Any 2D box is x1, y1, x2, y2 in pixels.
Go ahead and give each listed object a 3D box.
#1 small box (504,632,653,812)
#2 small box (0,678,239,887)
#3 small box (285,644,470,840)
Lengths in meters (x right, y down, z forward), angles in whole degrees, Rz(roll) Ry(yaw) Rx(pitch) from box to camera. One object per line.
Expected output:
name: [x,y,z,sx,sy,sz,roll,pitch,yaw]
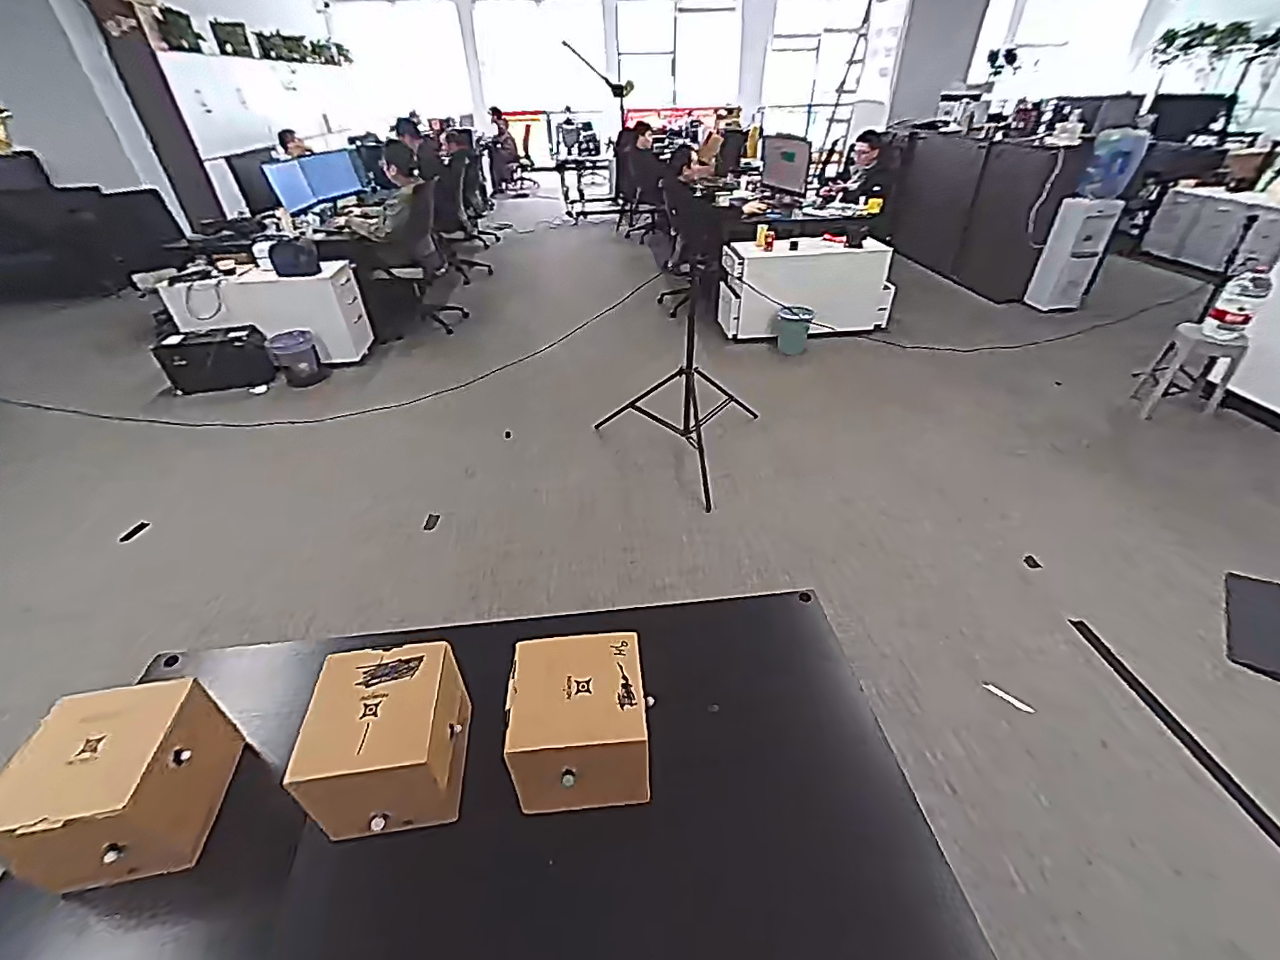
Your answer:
small box: [-0.078,0.338,0.755,0.179,0.176,0.168,-4,36,-3]
small box: [-0.666,0.392,0.699,0.168,0.176,0.179,-6,36,-9]
small box: [-0.337,0.354,0.740,0.168,0.176,0.179,-5,37,-6]
